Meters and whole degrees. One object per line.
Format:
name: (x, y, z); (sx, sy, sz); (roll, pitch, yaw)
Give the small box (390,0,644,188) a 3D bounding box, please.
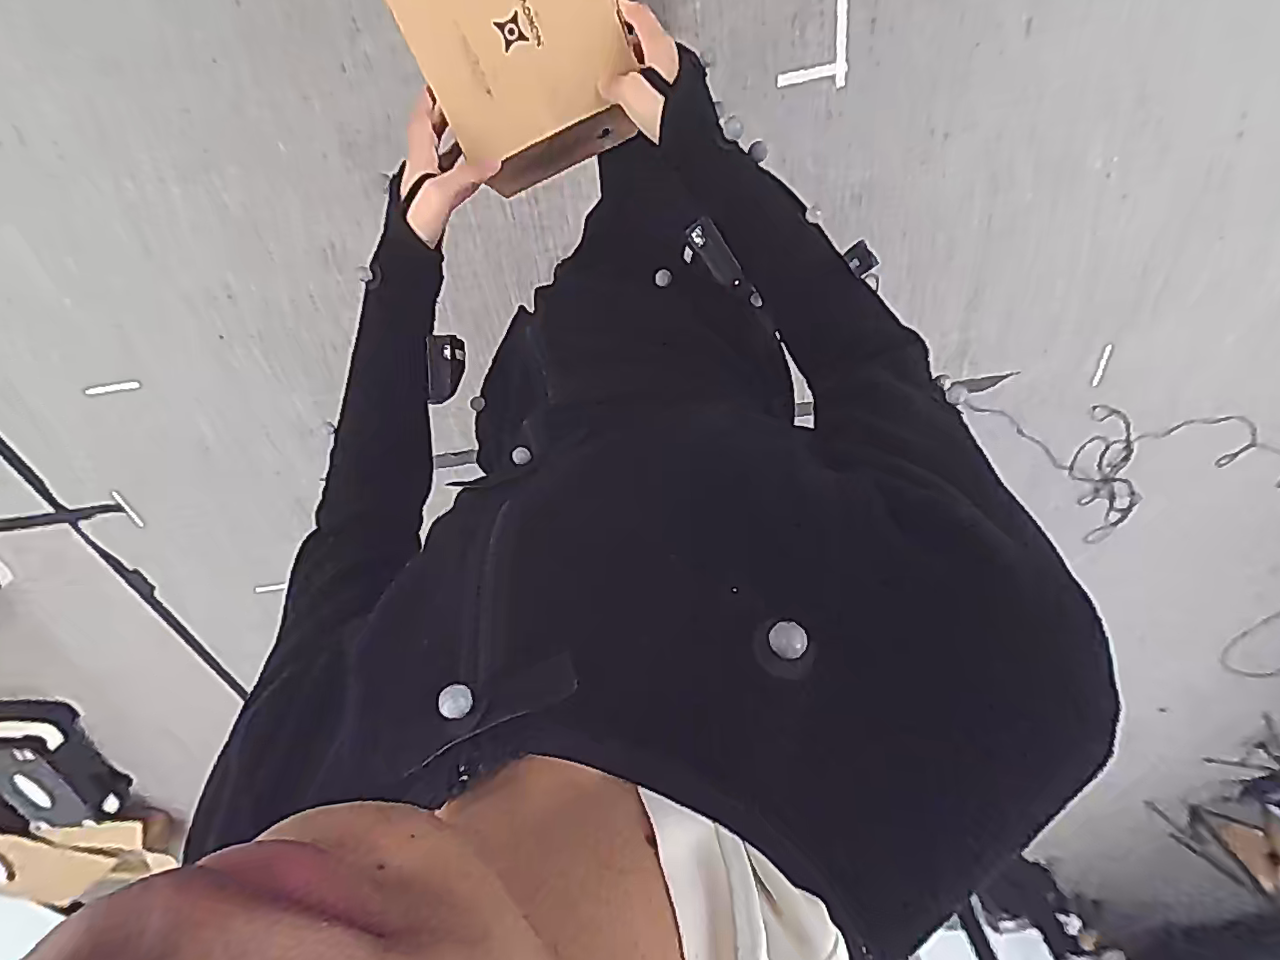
small box: (-0.113, -0.412, 0.524); (0.179, 0.176, 0.168); (-24, 109, 4)
